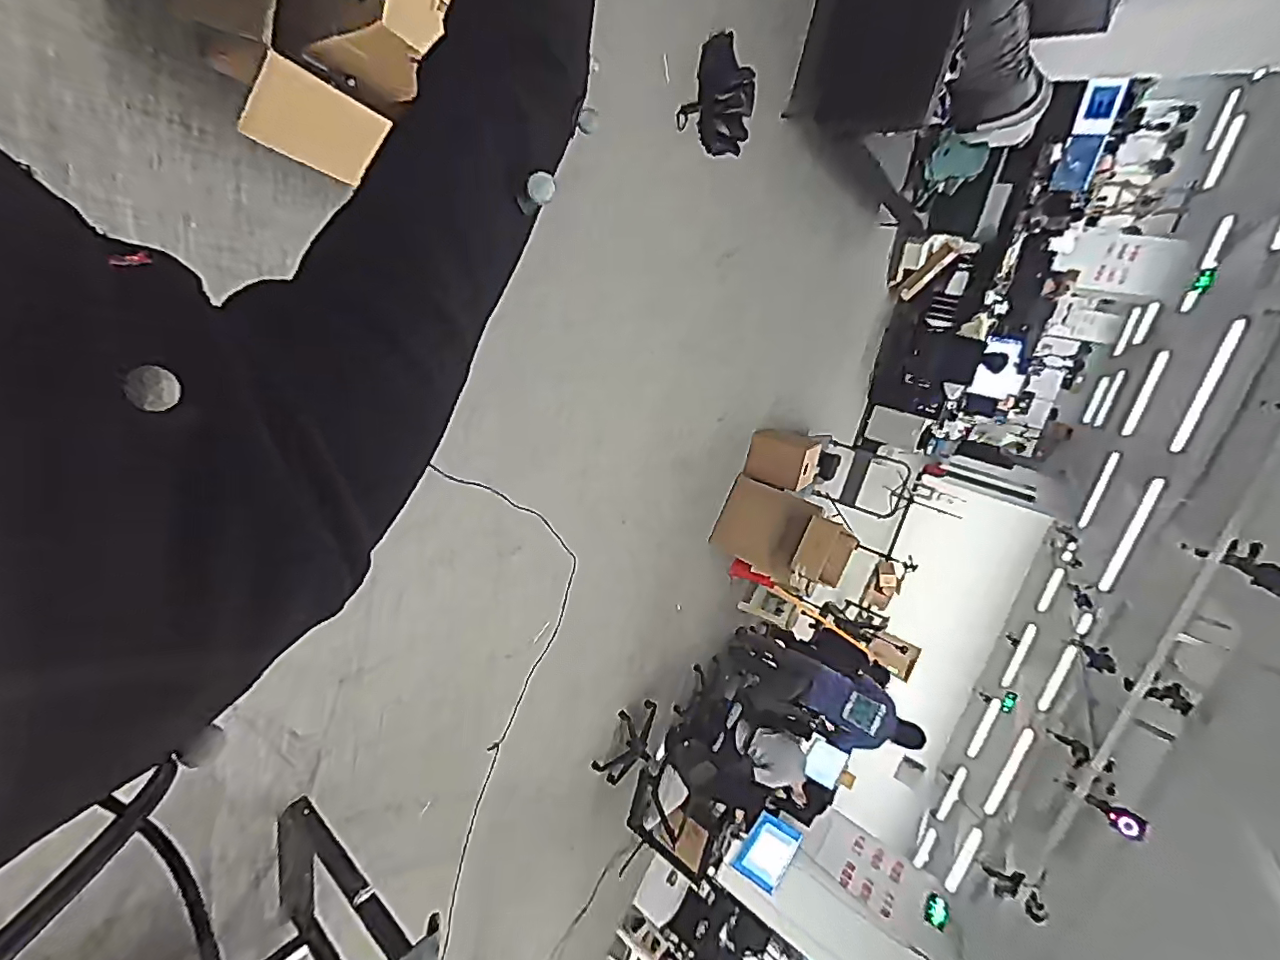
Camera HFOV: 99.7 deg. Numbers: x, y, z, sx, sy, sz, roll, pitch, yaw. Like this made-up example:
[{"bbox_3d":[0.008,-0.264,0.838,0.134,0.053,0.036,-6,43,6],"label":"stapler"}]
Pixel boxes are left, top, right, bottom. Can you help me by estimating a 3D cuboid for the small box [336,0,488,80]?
[{"bbox_3d":[-0.391,-0.820,0.928,0.179,0.176,0.168,-1,111,-54],"label":"small box"}]
